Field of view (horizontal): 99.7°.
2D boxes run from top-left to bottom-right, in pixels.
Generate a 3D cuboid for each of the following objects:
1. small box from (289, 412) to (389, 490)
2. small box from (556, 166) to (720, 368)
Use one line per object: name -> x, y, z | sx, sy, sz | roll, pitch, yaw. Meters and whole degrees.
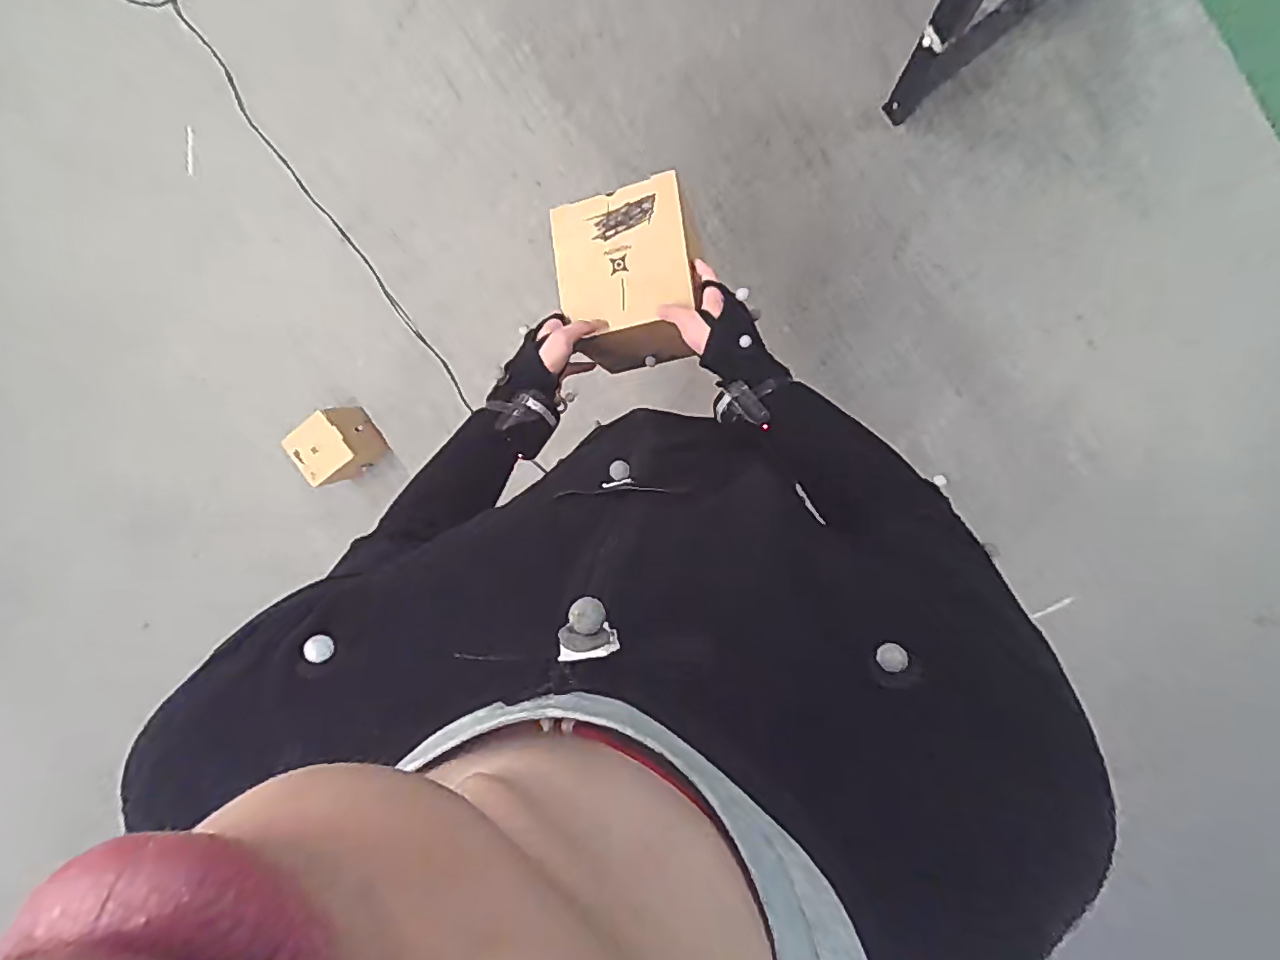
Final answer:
small box -> -0.896, -0.094, 1.635 | 0.179, 0.176, 0.168 | -33, 93, 13
small box -> 0.005, -0.267, 0.720 | 0.168, 0.176, 0.179 | -10, 85, 17
